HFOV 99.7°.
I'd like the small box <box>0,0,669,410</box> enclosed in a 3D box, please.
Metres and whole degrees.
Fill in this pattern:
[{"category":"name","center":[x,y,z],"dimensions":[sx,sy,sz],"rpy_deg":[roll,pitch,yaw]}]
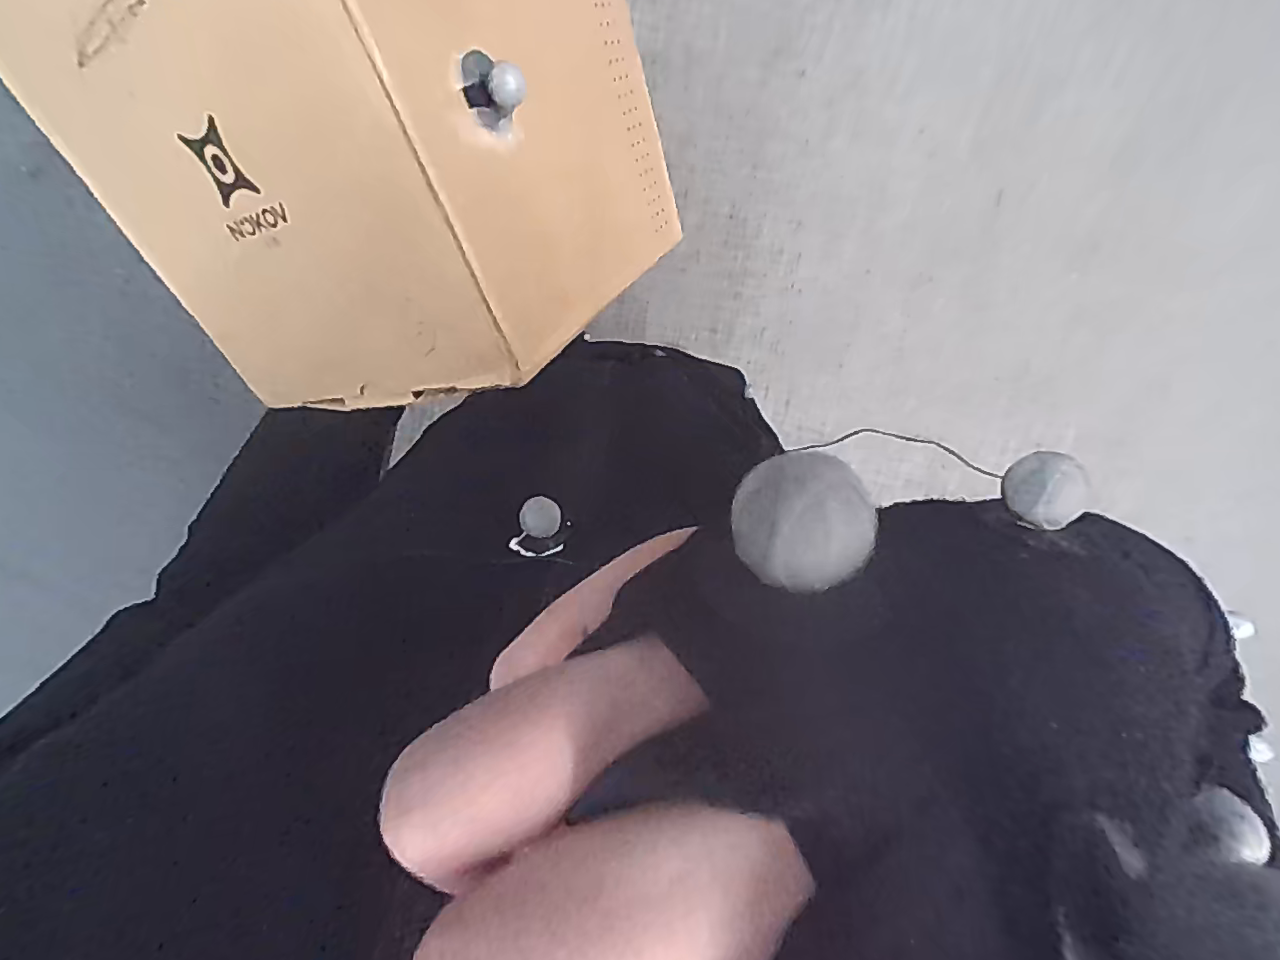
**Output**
[{"category":"small box","center":[-0.103,-0.150,0.234],"dimensions":[0.168,0.176,0.179],"rpy_deg":[0,127,29]}]
